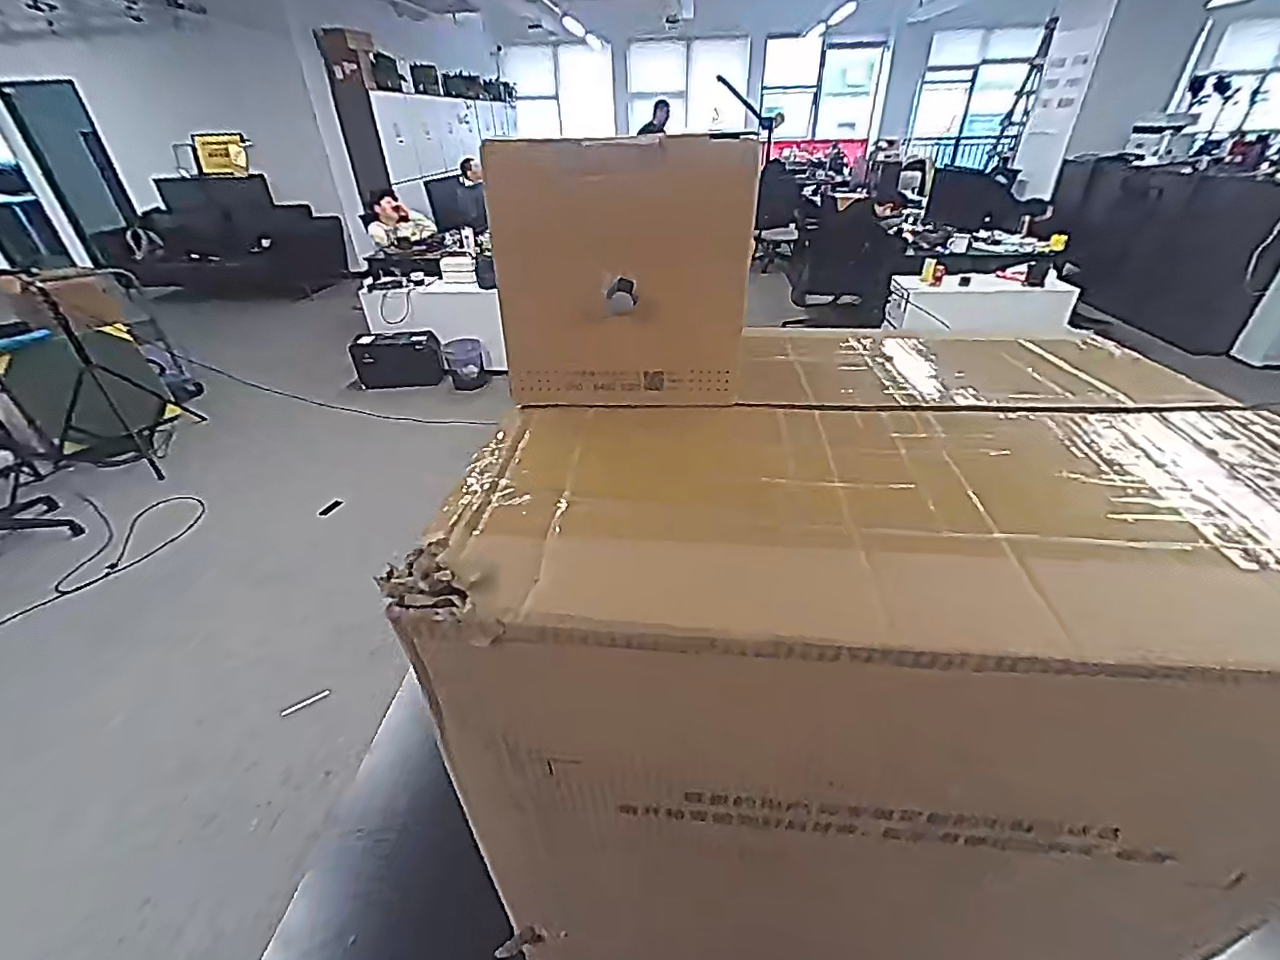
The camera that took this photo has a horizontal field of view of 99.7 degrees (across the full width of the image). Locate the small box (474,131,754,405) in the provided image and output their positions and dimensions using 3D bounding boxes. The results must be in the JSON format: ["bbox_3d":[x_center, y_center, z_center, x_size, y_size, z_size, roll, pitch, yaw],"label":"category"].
[{"bbox_3d":[-0.011,-0.165,0.418,0.168,0.176,0.179,0,32,1],"label":"small box"}]
